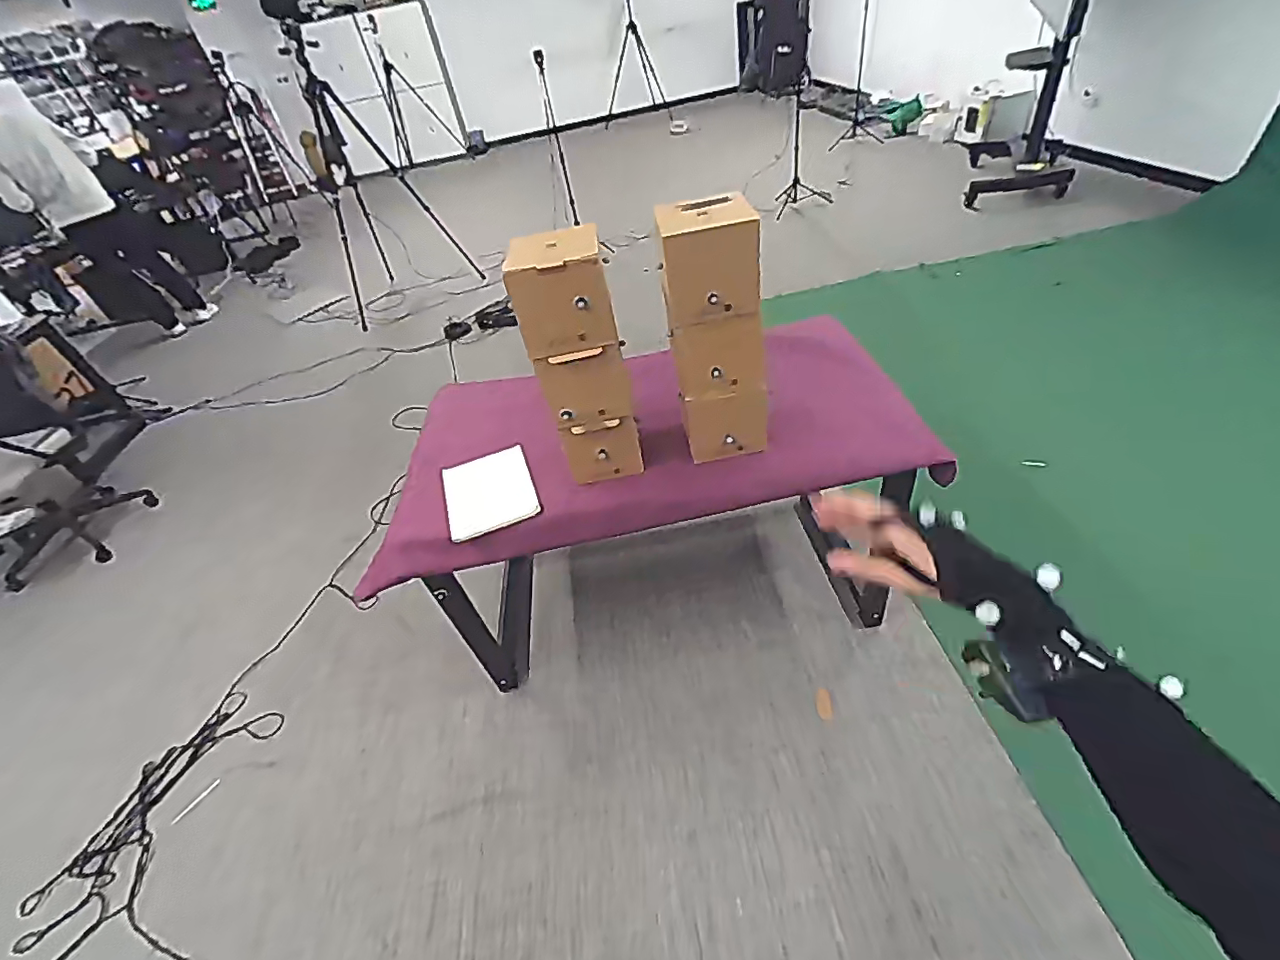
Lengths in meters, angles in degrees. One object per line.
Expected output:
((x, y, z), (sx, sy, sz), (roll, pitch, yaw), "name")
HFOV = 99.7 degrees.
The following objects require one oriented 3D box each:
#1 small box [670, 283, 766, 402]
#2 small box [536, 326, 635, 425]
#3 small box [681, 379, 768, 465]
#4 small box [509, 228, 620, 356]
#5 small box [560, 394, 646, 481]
((0.159, -0.284, 1.123), (0.168, 0.176, 0.179), (-10, 41, 2), "small box")
((-0.108, -0.229, 1.125), (0.168, 0.176, 0.179), (-10, 40, 2), "small box")
((0.188, -0.160, 1.224), (0.168, 0.176, 0.179), (-11, 40, 3), "small box")
((-0.134, -0.346, 1.015), (0.168, 0.176, 0.179), (-9, 41, 3), "small box")
((-0.082, -0.112, 1.239), (0.168, 0.176, 0.179), (-10, 42, 2), "small box")
